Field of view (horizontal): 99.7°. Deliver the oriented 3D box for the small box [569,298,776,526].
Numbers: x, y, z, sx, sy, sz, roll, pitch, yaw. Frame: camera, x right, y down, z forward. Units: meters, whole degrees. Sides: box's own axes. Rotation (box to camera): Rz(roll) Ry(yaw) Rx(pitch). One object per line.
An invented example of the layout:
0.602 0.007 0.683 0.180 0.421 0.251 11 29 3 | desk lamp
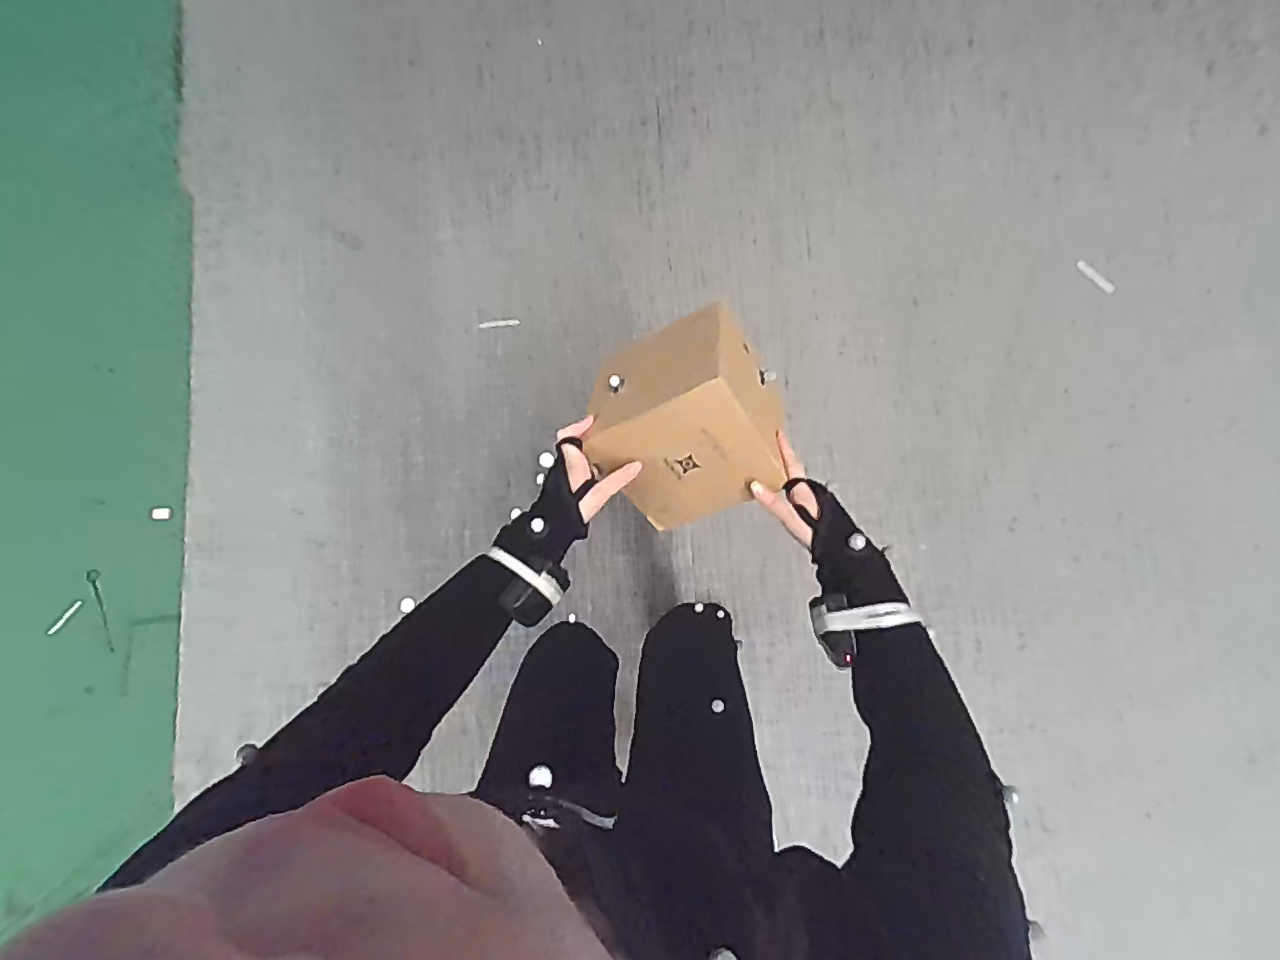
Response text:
0.047 -0.078 0.638 0.179 0.168 0.176 -21 38 28 | small box
